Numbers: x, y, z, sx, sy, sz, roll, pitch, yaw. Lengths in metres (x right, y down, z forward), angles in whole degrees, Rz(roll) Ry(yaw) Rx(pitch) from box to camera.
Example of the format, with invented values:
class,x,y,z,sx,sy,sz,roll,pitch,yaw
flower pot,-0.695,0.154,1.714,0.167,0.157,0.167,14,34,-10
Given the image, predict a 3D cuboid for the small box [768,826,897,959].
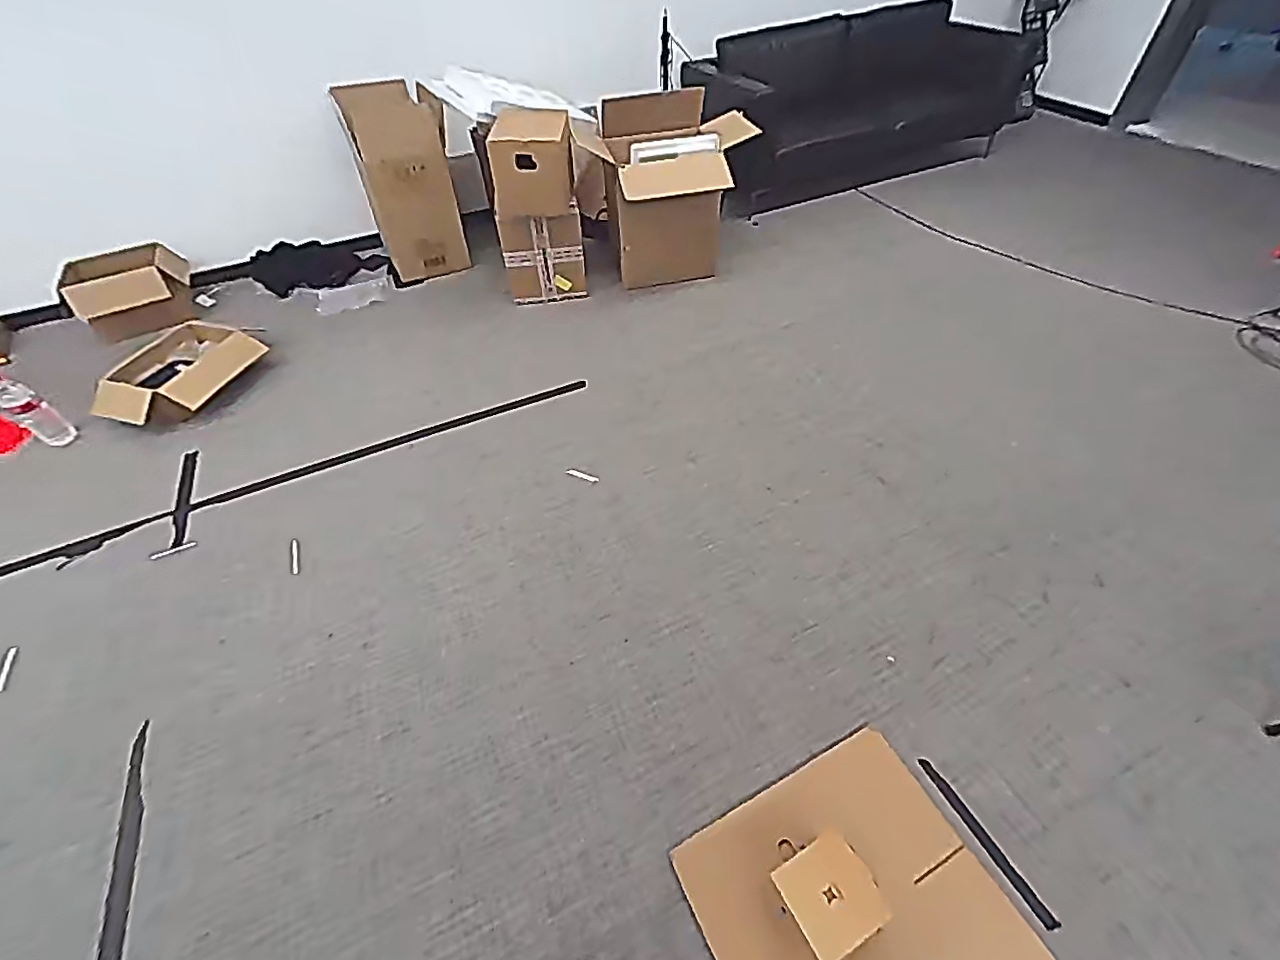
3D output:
class,x,y,z,sx,sy,sz,roll,pitch,yaw
small box,0.377,0.850,1.099,0.179,0.176,0.168,-24,51,-17
